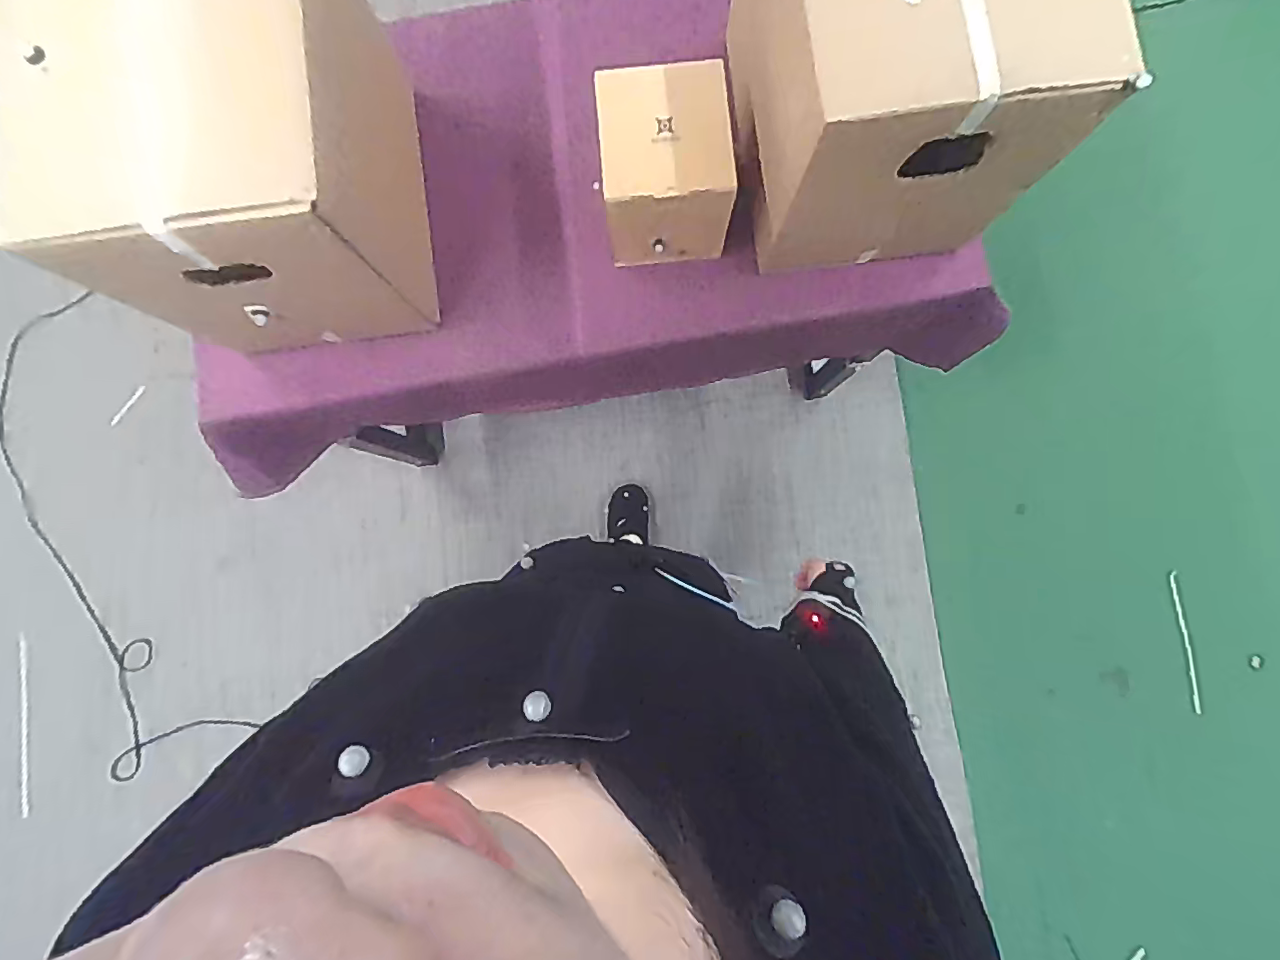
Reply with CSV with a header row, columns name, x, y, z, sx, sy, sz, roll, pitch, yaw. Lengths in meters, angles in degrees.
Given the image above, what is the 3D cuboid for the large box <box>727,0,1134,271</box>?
name,x,y,z,sx,sy,sz,roll,pitch,yaw
large box,0.314,-0.542,0.698,0.320,0.320,0.408,-7,85,0
